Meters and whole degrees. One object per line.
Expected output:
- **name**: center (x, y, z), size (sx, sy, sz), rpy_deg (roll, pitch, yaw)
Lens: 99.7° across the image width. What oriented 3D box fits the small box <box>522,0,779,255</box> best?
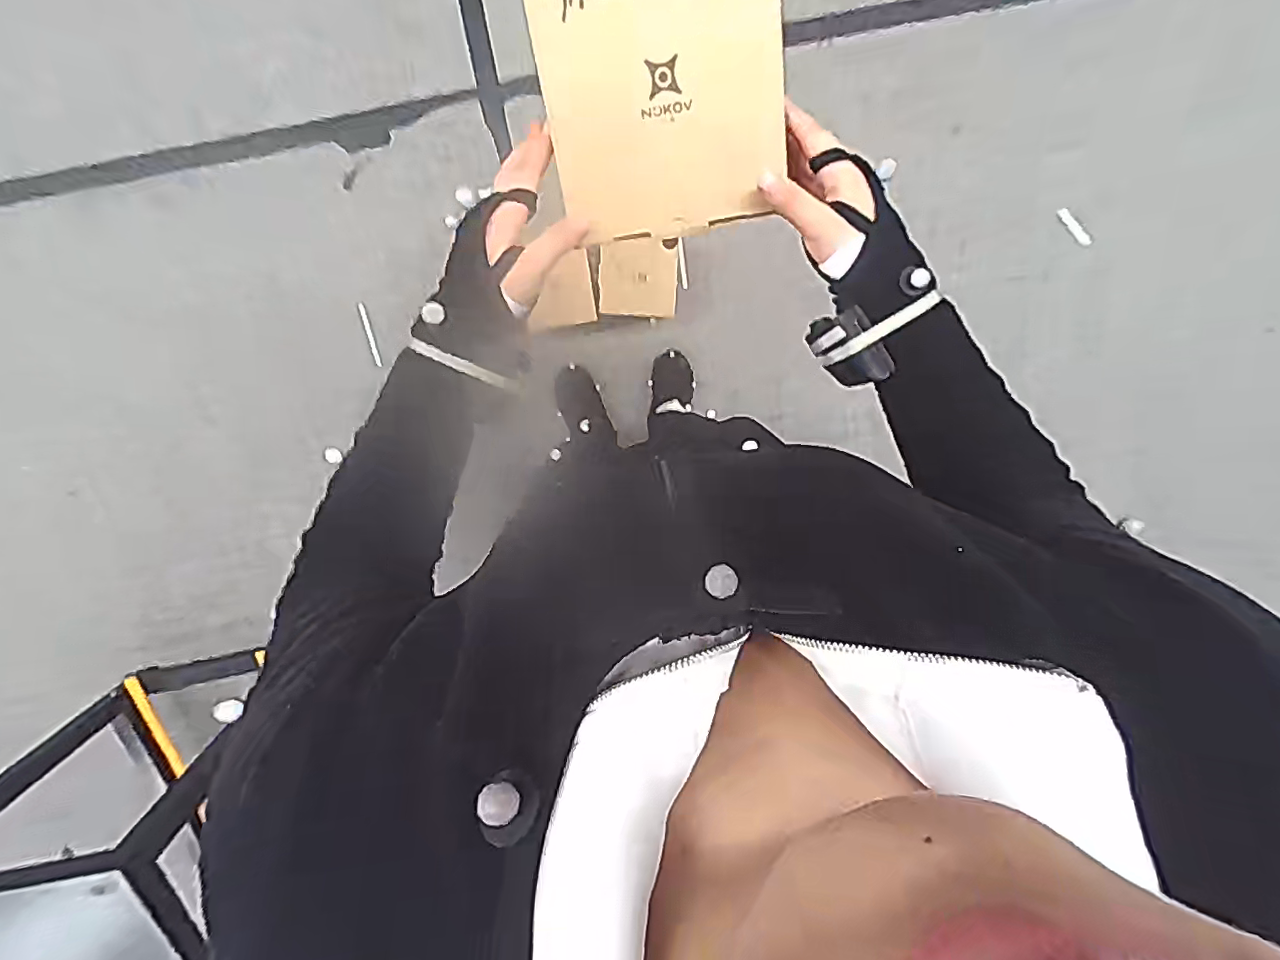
- **small box**: center (0.012, -0.299, 0.446), size (0.168, 0.176, 0.179), rpy_deg (-9, 118, 2)
